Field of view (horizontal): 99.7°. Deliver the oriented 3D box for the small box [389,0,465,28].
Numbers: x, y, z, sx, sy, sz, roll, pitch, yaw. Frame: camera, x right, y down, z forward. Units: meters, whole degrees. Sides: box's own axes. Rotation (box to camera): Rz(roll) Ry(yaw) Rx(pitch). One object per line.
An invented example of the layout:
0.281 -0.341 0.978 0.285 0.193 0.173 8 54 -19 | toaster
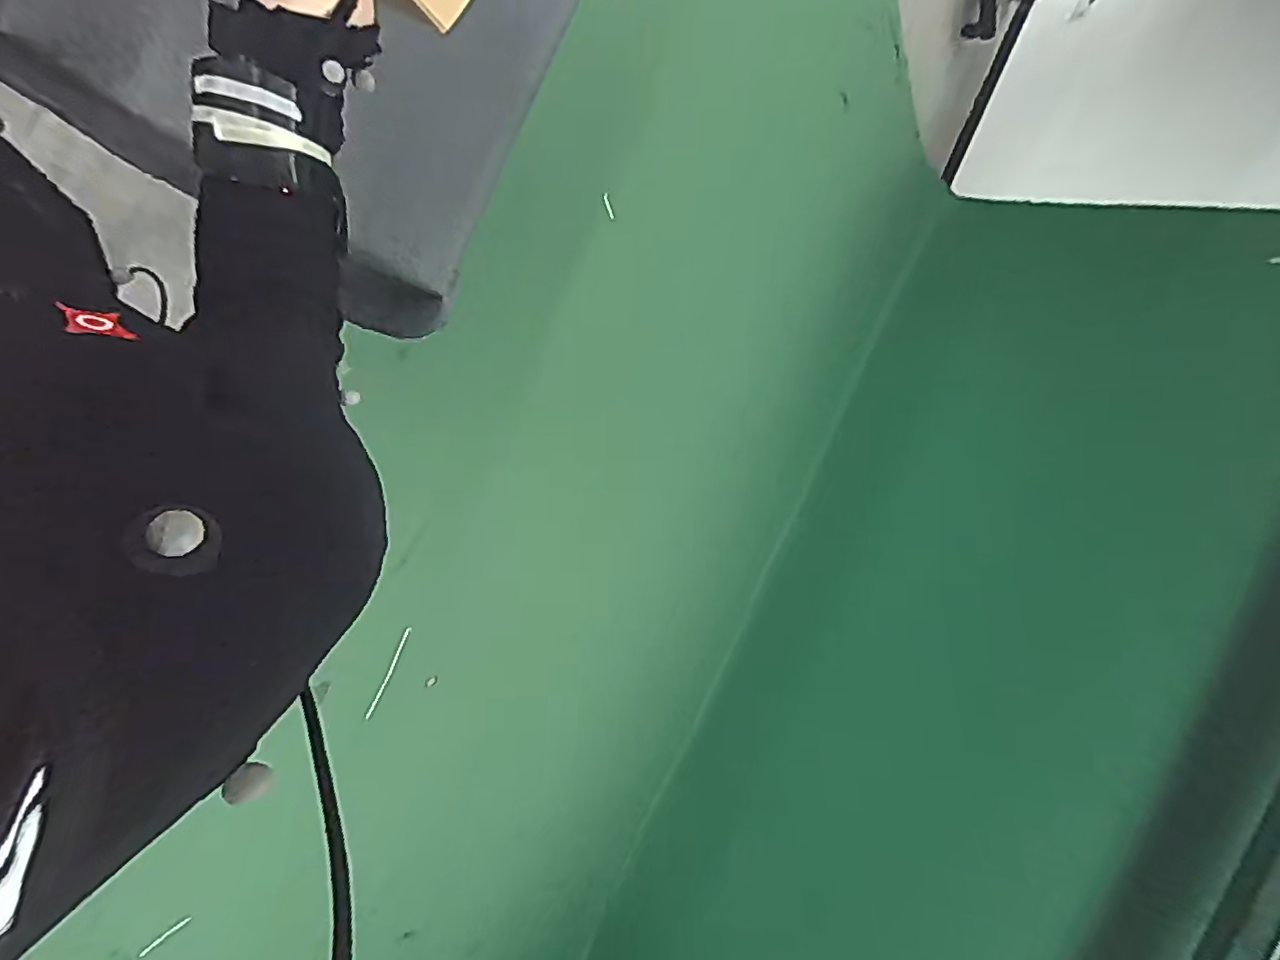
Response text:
-0.185 -0.485 0.387 0.179 0.176 0.168 -50 147 10 | small box
